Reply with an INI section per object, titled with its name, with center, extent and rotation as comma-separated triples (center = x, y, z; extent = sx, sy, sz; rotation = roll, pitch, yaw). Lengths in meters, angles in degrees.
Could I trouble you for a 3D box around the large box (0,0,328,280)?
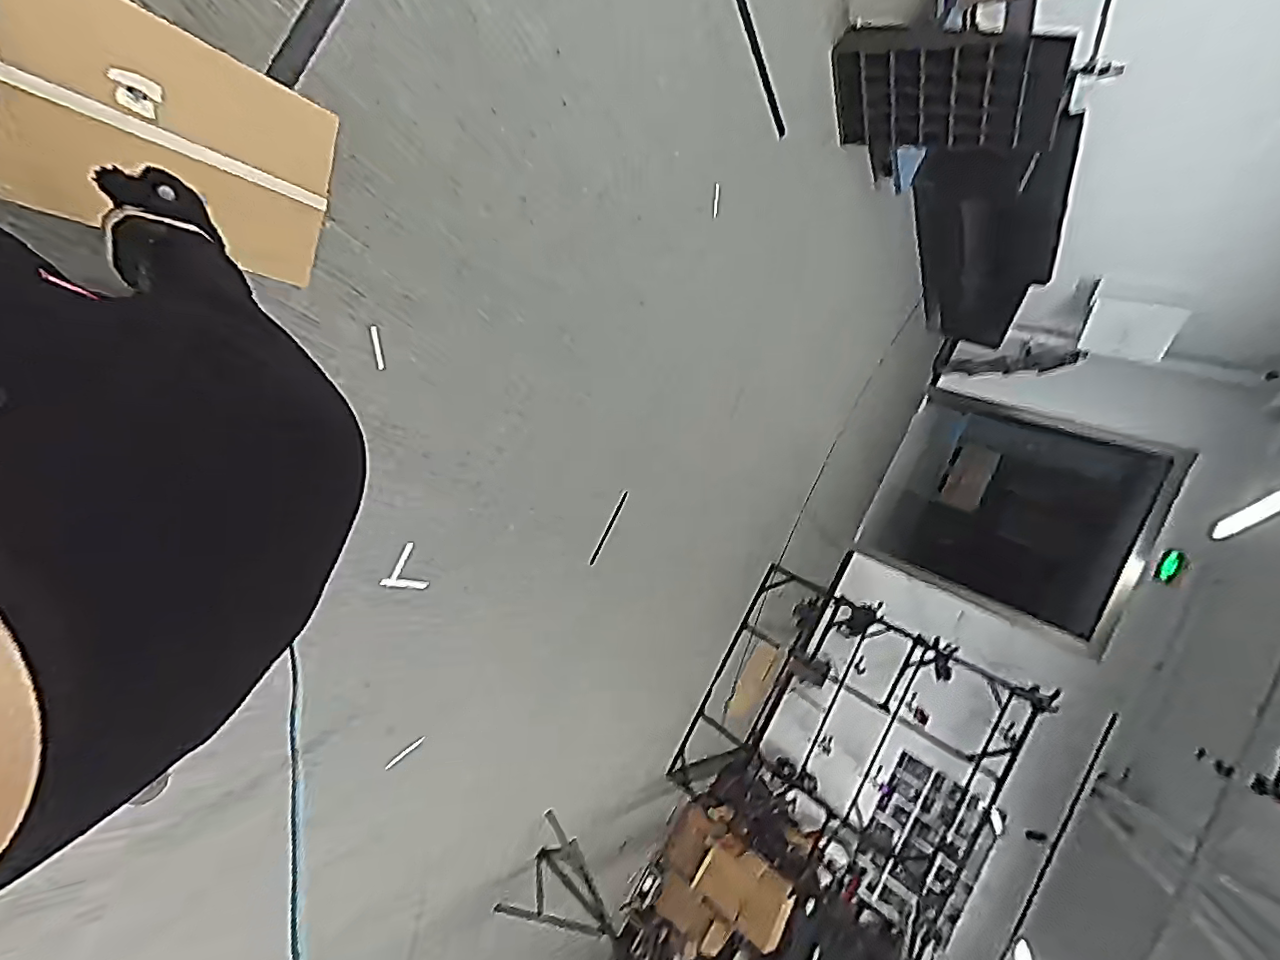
[large box]
center = -0.830, -0.579, 0.927
extent = 0.408, 0.320, 0.320
rotation = 2, 109, -53
